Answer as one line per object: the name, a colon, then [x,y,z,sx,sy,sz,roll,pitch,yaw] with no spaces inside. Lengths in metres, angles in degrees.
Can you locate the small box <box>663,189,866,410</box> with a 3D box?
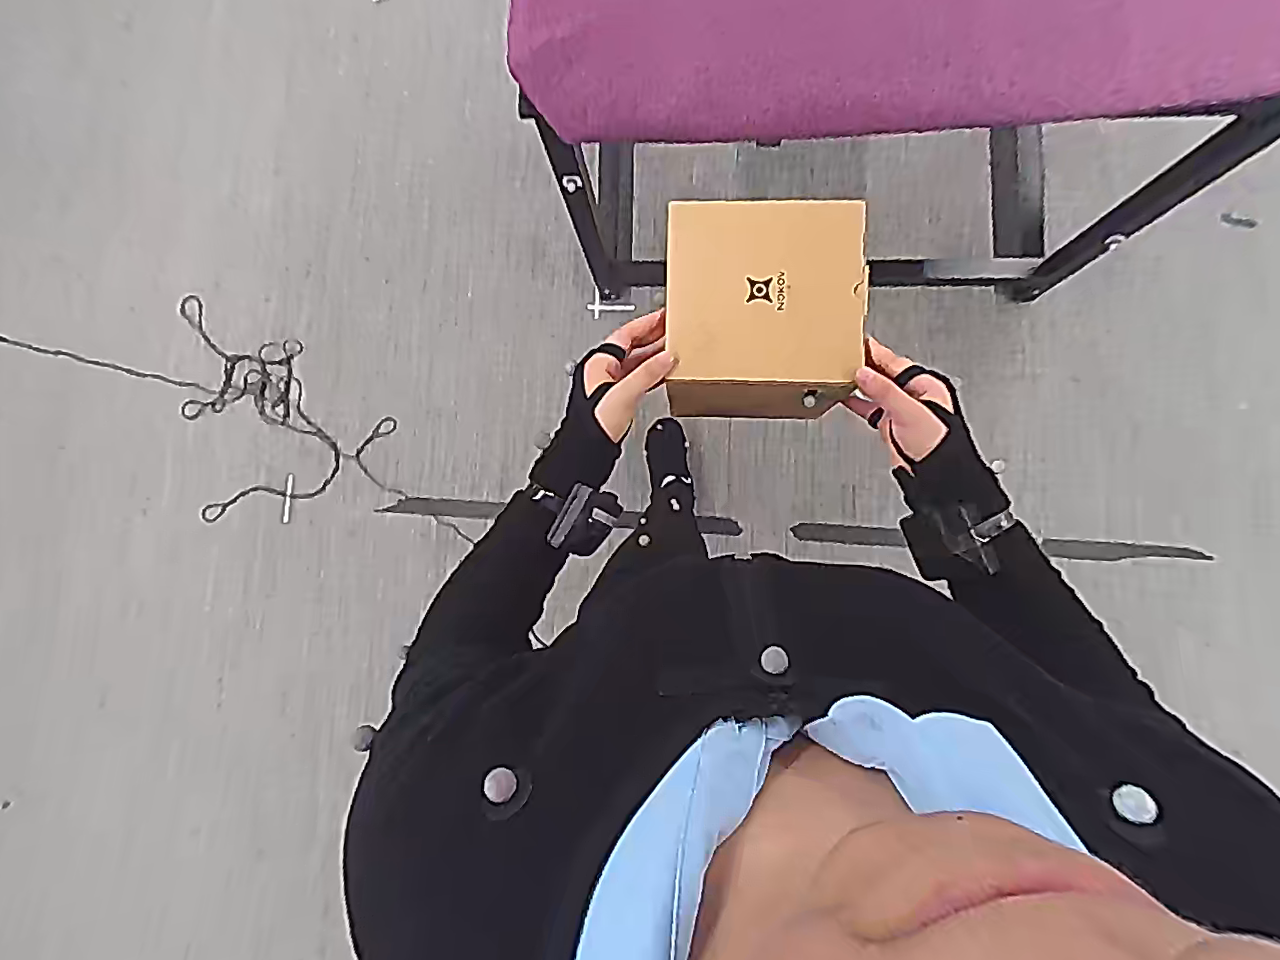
small box: [0.115,-0.170,0.555,0.179,0.176,0.168,2,85,3]
